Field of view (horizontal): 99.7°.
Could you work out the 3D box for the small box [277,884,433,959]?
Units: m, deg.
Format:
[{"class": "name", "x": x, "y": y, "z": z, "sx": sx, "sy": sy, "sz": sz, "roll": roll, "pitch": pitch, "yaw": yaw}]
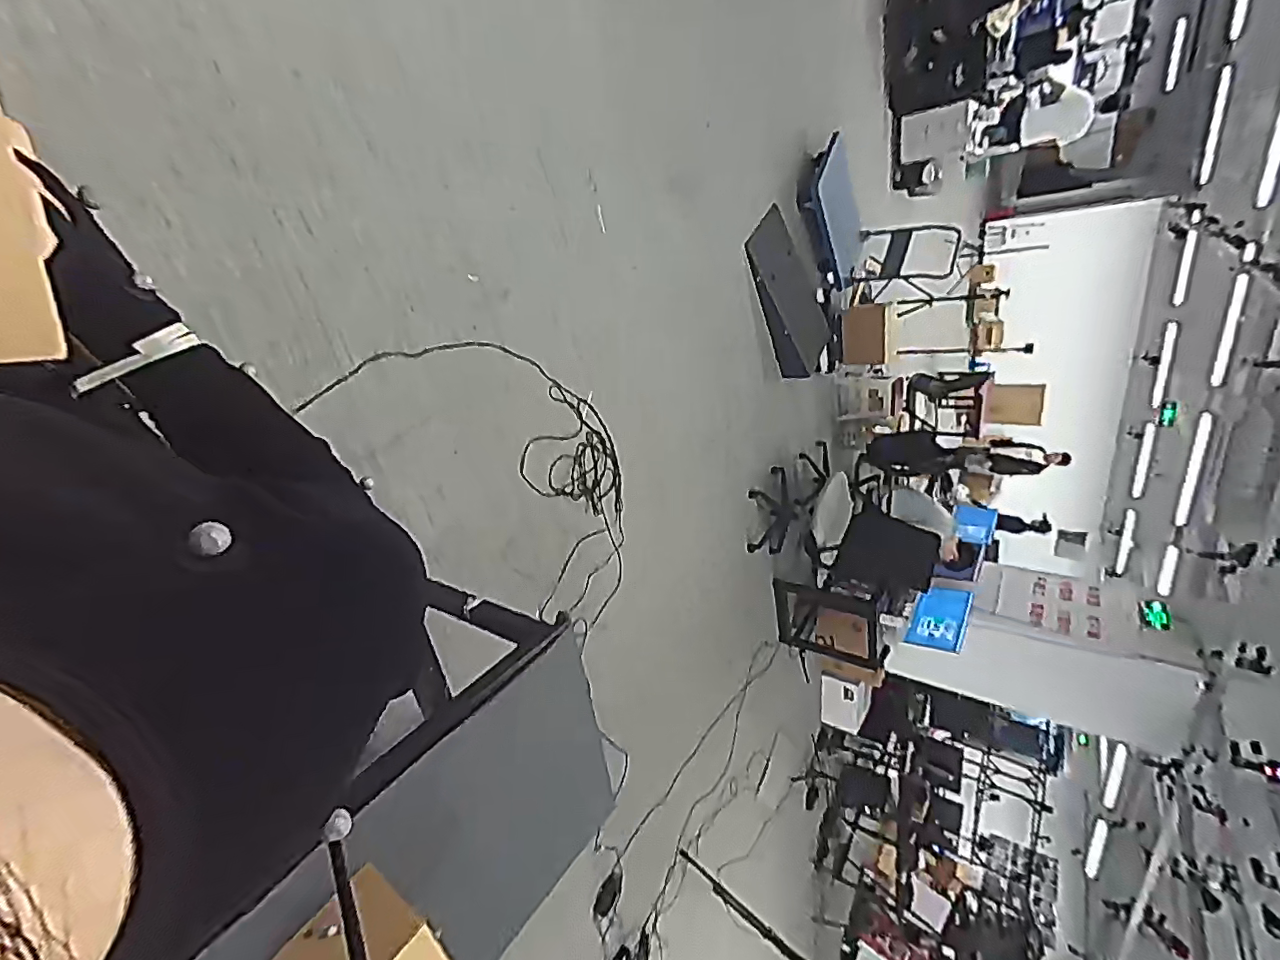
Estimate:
[{"class": "small box", "x": -0.406, "y": 0.744, "z": 0.784, "sx": 0.168, "sy": 0.176, "sz": 0.179, "roll": -38, "pitch": 126, "yaw": -45}]
